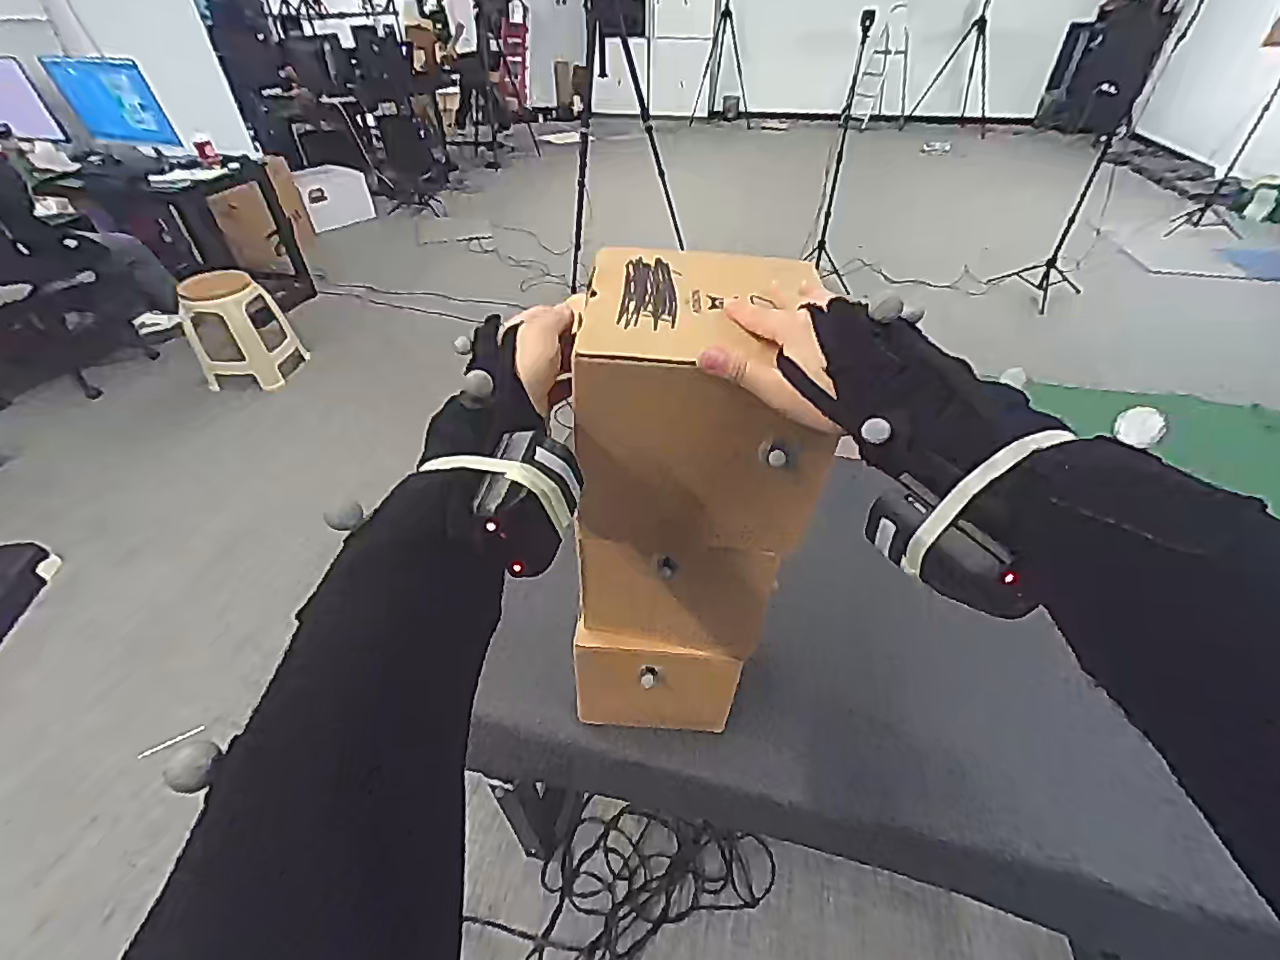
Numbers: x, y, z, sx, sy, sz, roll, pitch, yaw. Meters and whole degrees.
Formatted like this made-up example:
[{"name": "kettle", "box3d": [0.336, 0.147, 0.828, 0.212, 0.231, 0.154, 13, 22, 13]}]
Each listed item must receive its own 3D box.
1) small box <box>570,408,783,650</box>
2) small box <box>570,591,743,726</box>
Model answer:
[{"name": "small box", "box3d": [0.041, 0.050, 0.551, 0.179, 0.176, 0.168, 9, 43, 8]}, {"name": "small box", "box3d": [0.021, 0.177, 0.652, 0.179, 0.176, 0.168, 3, 41, 3]}]
